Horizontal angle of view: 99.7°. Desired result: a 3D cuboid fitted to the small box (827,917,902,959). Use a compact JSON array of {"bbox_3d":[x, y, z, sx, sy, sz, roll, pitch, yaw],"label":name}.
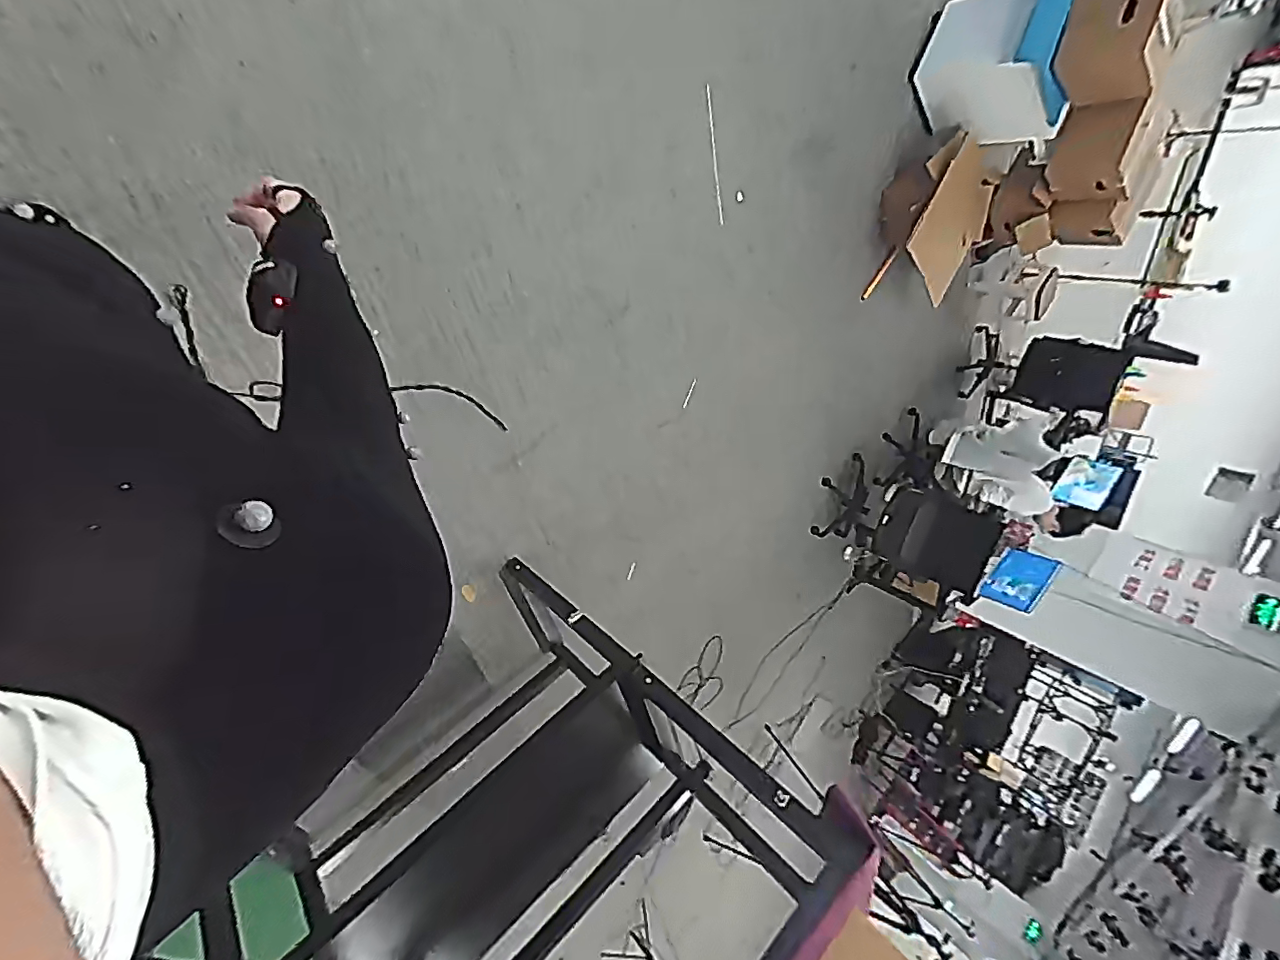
[{"bbox_3d":[0.451,1.017,1.060,0.179,0.176,0.168,-38,131,-24],"label":"small box"}]
